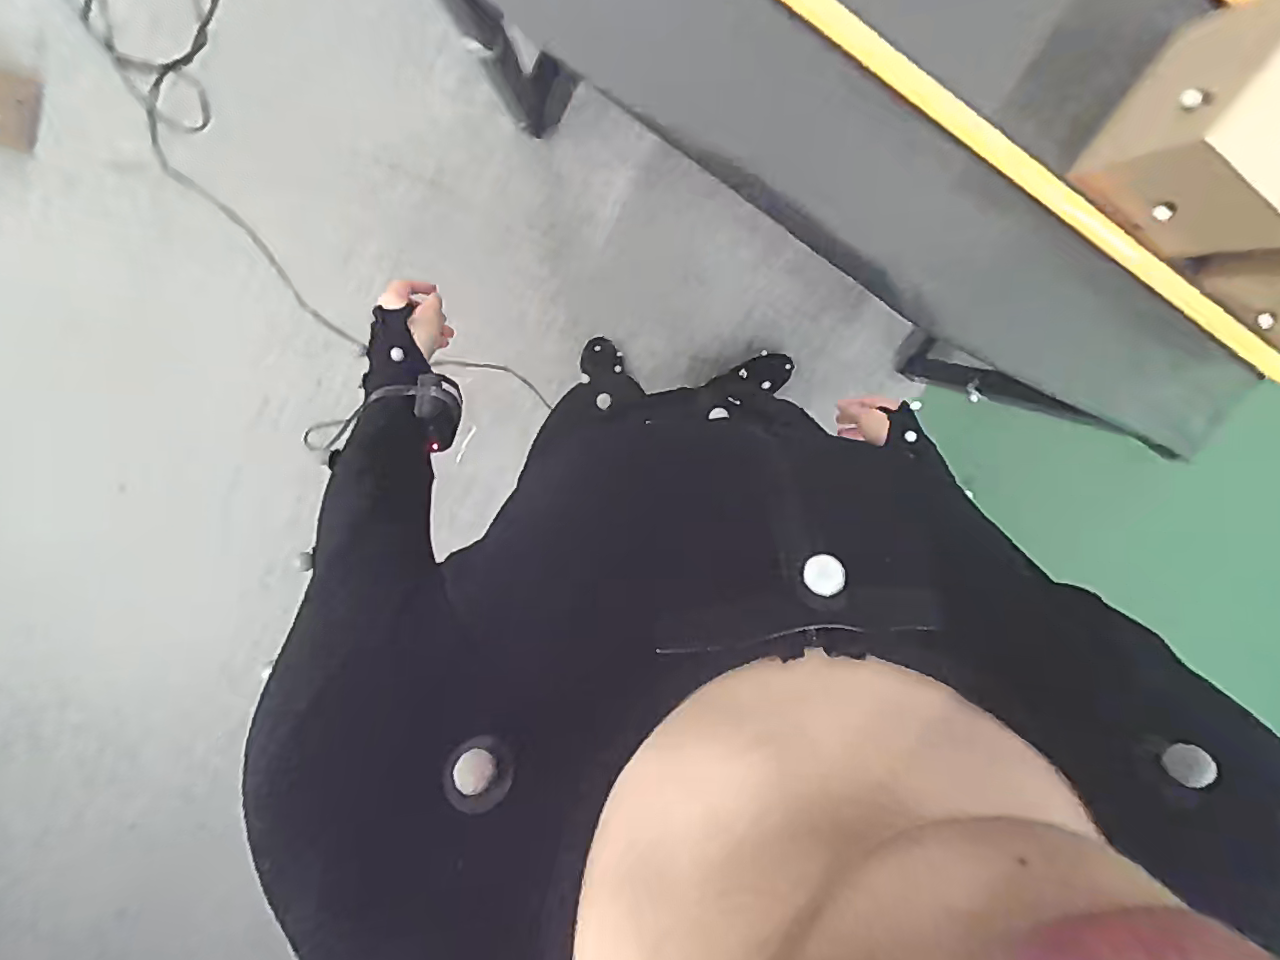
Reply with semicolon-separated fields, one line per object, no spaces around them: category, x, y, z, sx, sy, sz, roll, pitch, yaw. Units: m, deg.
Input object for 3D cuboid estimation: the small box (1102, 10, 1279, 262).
small box;0.641;-0.349;0.561;0.168;0.176;0.179;33;104;-11
